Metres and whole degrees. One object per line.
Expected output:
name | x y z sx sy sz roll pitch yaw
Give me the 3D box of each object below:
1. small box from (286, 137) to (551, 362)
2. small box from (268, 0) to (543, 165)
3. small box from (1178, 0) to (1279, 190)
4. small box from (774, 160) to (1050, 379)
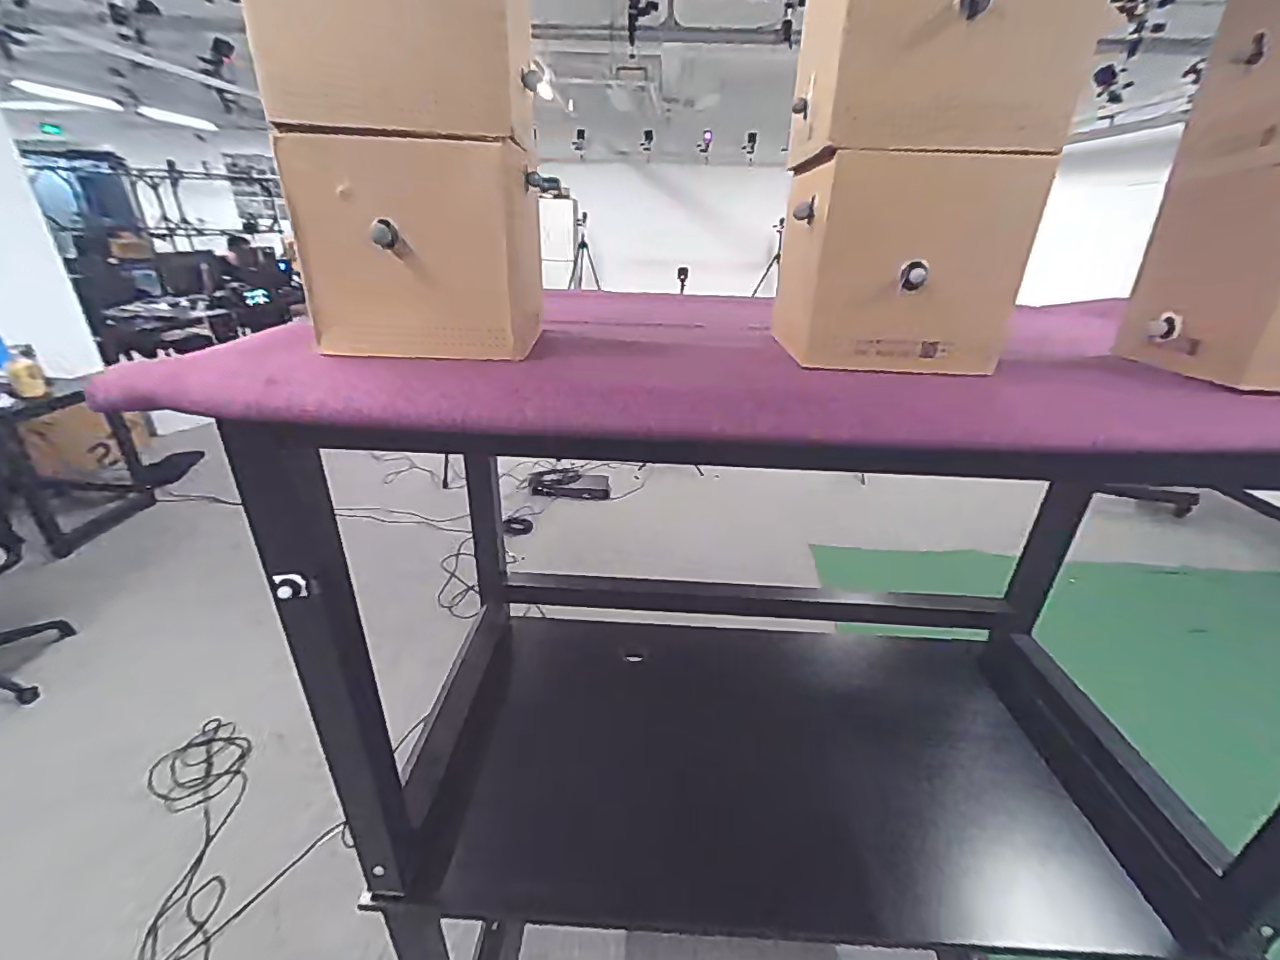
small box | -0.183 -0.212 0.510 0.179 0.176 0.168 1 27 -3
small box | -0.176 -0.360 0.438 0.179 0.176 0.168 1 26 -6
small box | 0.580 -0.318 0.417 0.179 0.176 0.168 5 23 9
small box | 0.234 -0.200 0.520 0.168 0.176 0.179 4 25 2
